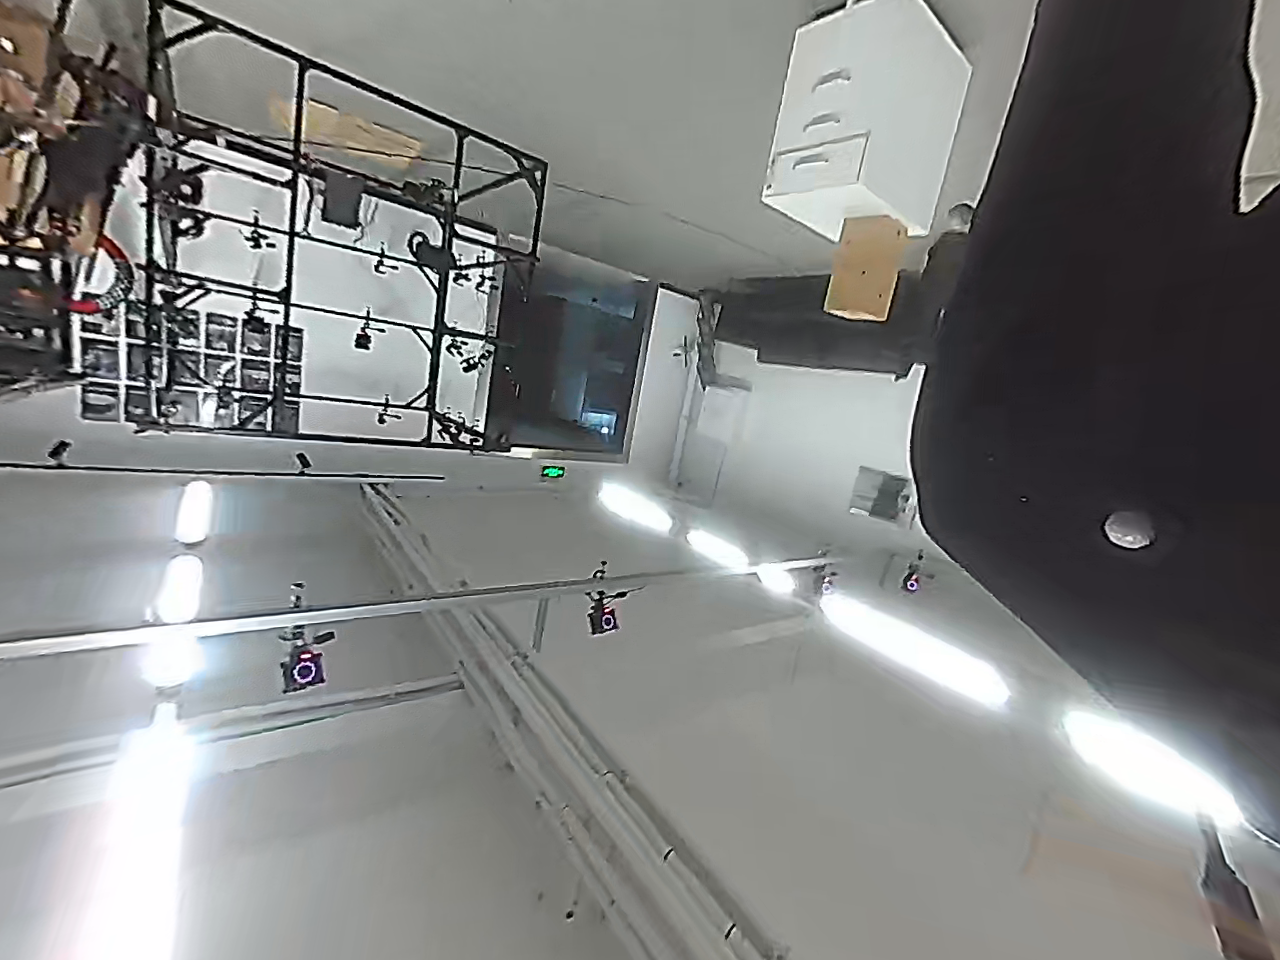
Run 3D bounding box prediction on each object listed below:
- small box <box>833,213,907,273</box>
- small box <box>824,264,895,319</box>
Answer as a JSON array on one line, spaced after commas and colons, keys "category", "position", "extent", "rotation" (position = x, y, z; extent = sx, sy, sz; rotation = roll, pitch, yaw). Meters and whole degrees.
[{"category": "small box", "position": [0.851, -0.869, 1.997], "extent": [0.168, 0.176, 0.179], "rotation": [0, -164, -41]}, {"category": "small box", "position": [0.827, -0.711, 2.034], "extent": [0.179, 0.176, 0.168], "rotation": [0, -163, -37]}]
